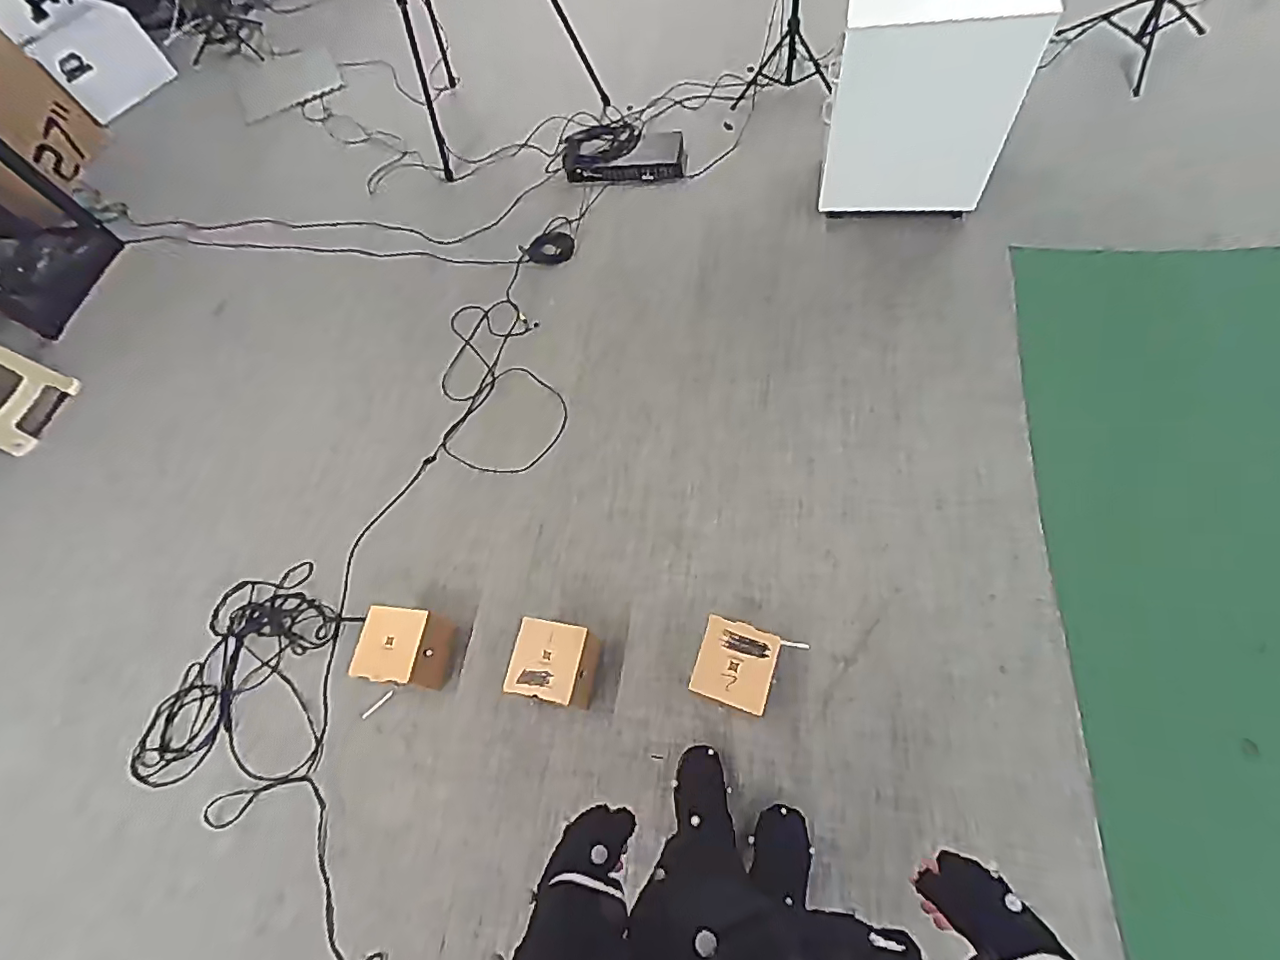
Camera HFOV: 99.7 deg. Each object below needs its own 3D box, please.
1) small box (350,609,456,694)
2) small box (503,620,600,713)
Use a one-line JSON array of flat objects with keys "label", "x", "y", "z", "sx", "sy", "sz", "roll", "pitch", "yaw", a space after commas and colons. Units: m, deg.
[{"label": "small box", "x": -0.602, "y": 0.447, "z": 1.402, "sx": 0.168, "sy": 0.176, "sz": 0.179, "roll": 2, "pitch": 64, "yaw": 11}, {"label": "small box", "x": -0.206, "y": 0.461, "z": 1.325, "sx": 0.168, "sy": 0.176, "sz": 0.179, "roll": 7, "pitch": 64, "yaw": 14}]
